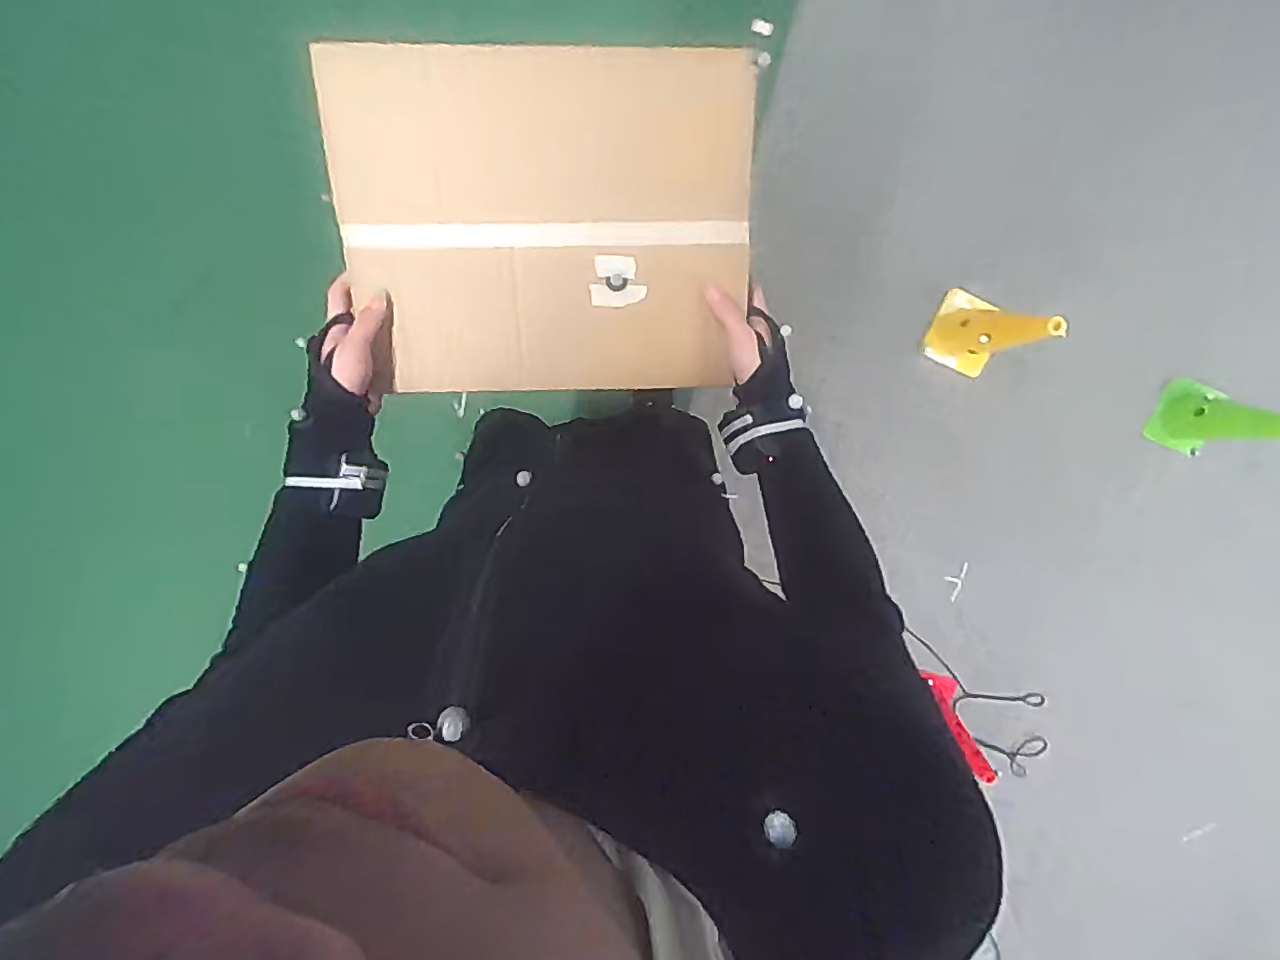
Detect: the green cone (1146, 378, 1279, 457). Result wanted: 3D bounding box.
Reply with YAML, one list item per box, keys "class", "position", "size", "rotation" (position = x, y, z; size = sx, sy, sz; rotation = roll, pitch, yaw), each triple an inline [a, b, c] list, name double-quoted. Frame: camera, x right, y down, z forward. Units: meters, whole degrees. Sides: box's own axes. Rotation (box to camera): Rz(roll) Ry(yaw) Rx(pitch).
- class: "green cone"
  position: [1.659, -0.155, 1.465]
  size: [0.202, 0.368, 0.200]
  rotation: [19, 101, -4]
